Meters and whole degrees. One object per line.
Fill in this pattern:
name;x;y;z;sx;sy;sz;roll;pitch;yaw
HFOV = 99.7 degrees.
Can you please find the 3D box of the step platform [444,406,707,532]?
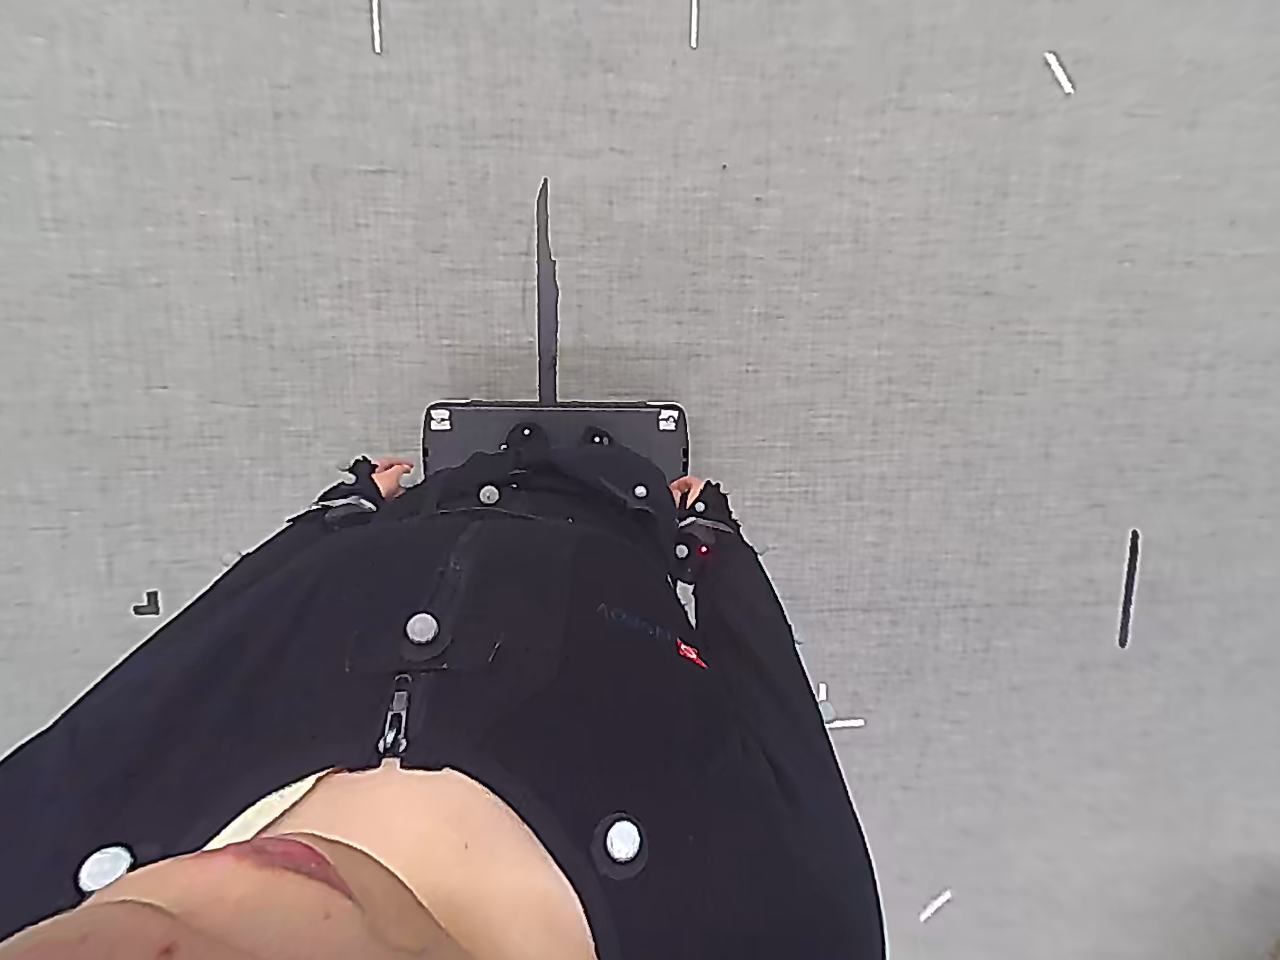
step platform;-0.165;-0.029;1.451;0.684;0.204;0.286;4;97;-5
